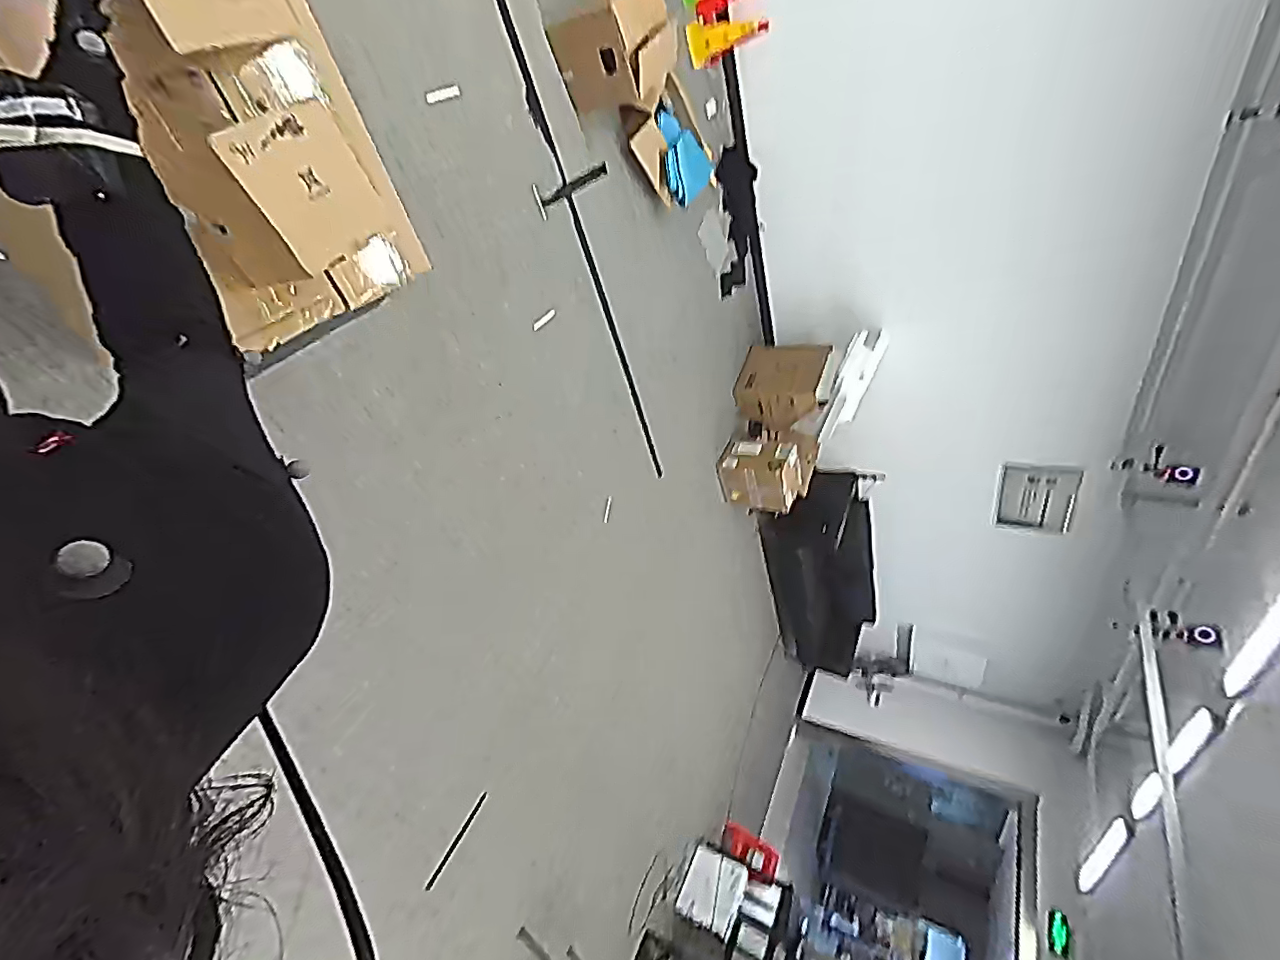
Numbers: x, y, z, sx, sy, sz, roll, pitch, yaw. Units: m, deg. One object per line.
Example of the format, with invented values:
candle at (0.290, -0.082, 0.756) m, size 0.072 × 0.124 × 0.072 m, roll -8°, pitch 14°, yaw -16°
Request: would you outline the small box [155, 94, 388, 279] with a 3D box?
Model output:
small box at (-0.505, -0.398, 0.755) m, size 0.168 × 0.176 × 0.179 m, roll -58°, pitch 141°, yaw -34°
